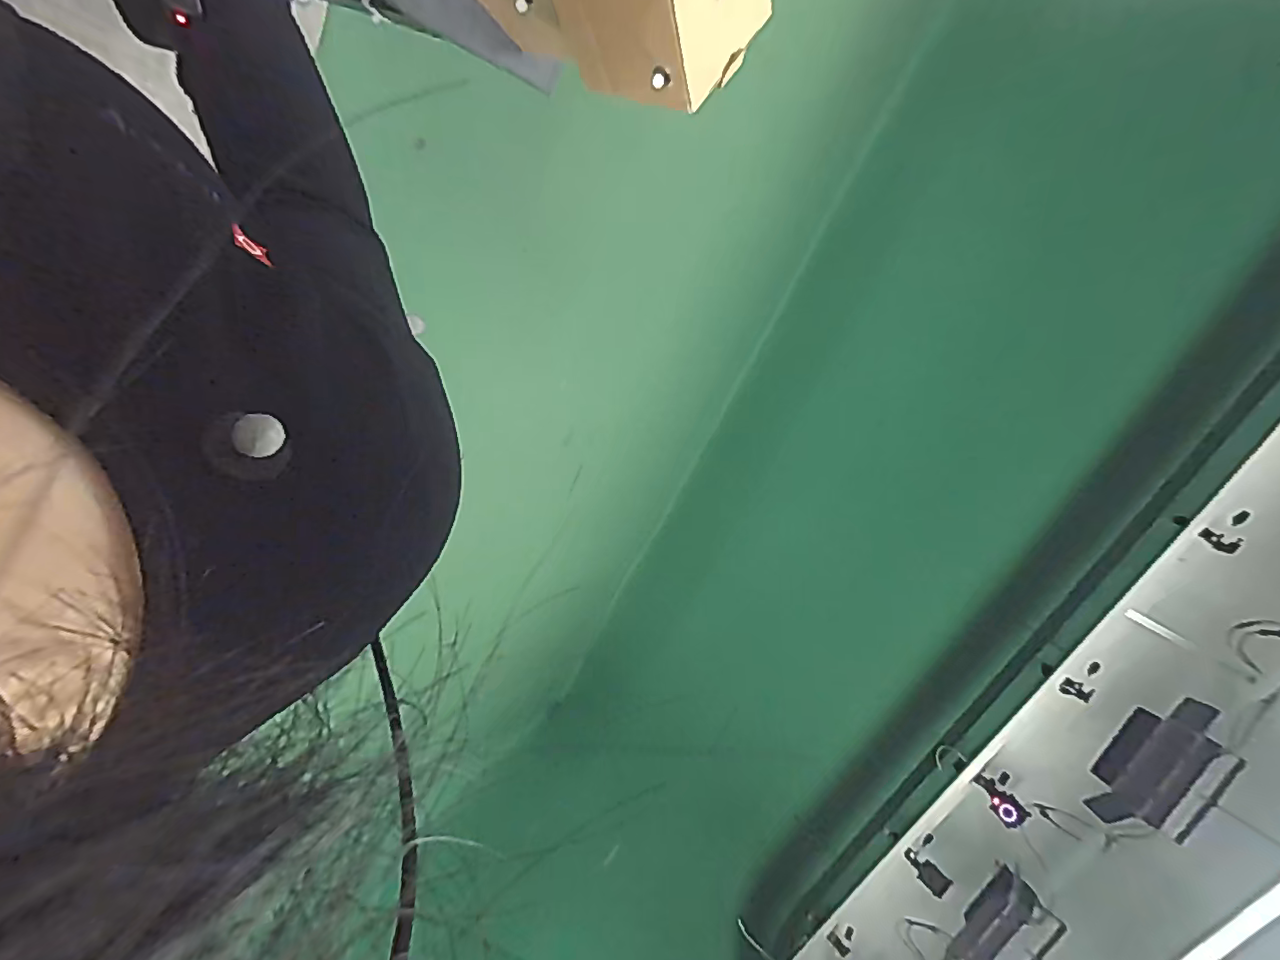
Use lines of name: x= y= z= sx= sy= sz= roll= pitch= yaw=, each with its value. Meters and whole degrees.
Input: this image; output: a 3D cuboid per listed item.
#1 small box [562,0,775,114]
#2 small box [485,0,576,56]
small box: x=0.022 y=-0.531 z=0.562 sx=0.168 sy=0.176 sz=0.179 roll=-54 pitch=156 yaw=-8
small box: x=-0.098 y=-0.626 z=0.623 sx=0.179 sy=0.176 sz=0.168 roll=5 pitch=114 yaw=-62
